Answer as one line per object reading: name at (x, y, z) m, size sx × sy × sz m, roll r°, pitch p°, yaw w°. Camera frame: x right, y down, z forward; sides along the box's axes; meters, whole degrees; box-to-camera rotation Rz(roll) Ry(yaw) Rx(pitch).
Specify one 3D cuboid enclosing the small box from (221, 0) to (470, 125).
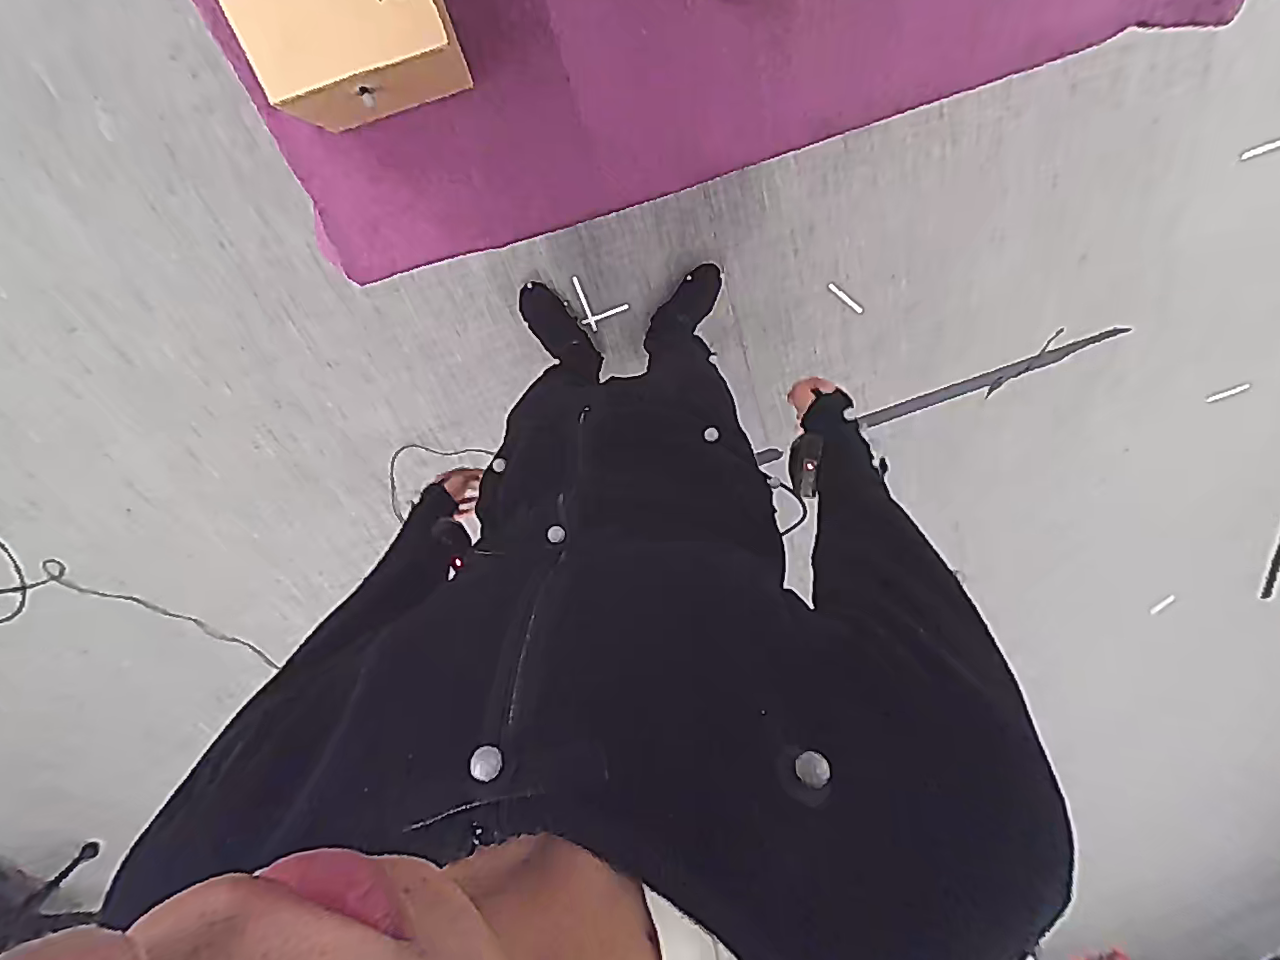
small box at (-0.288, -0.474, 0.529) m, size 0.179 × 0.176 × 0.168 m, roll -18°, pitch 117°, yaw -1°
